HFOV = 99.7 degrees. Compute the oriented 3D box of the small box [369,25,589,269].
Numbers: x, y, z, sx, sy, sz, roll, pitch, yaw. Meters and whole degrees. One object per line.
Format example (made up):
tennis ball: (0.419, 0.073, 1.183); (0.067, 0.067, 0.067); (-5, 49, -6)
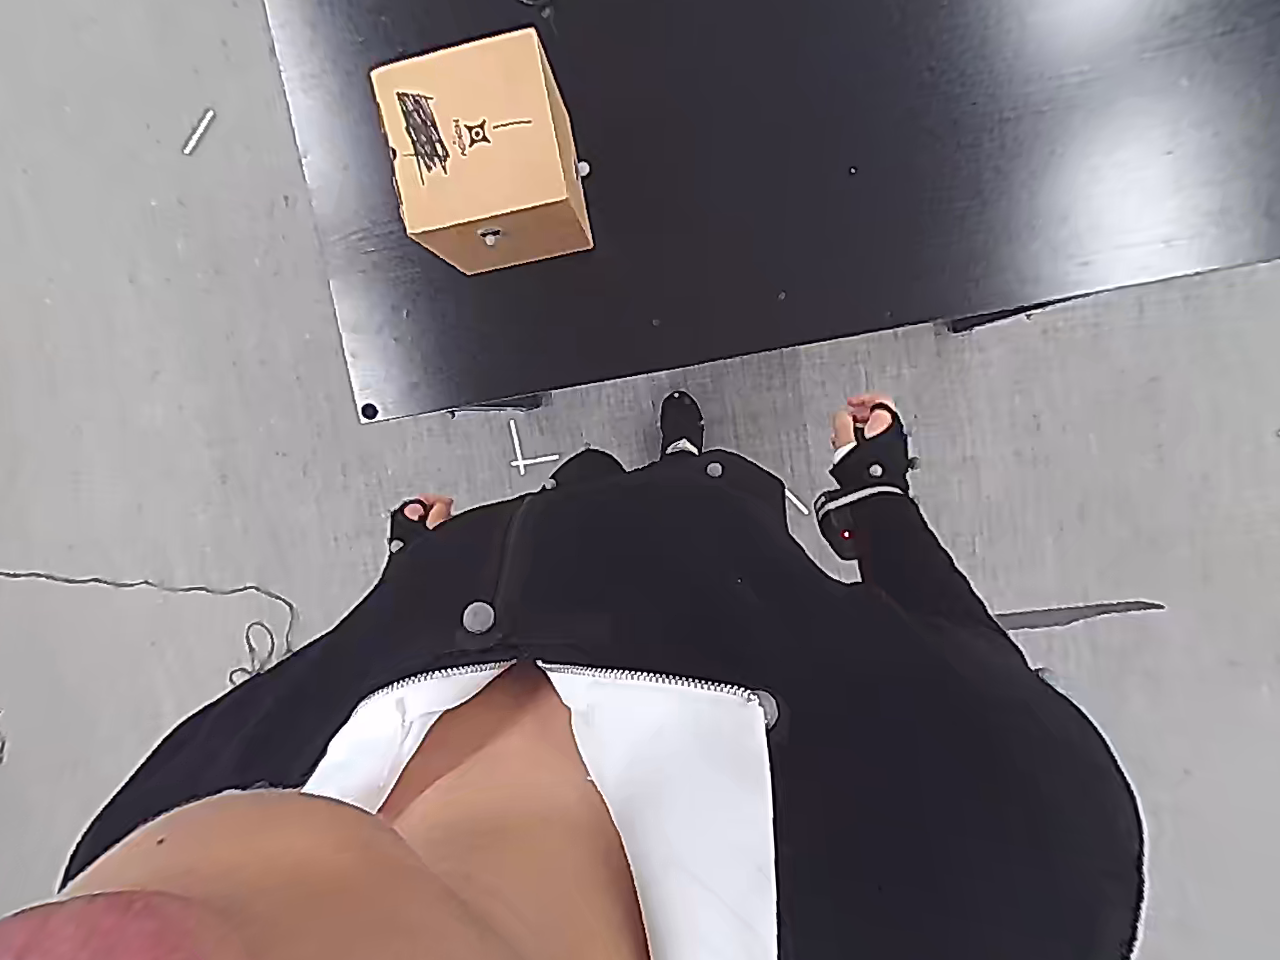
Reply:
small box: (-0.168, -0.357, 0.619); (0.179, 0.176, 0.168); (-10, 96, 5)
